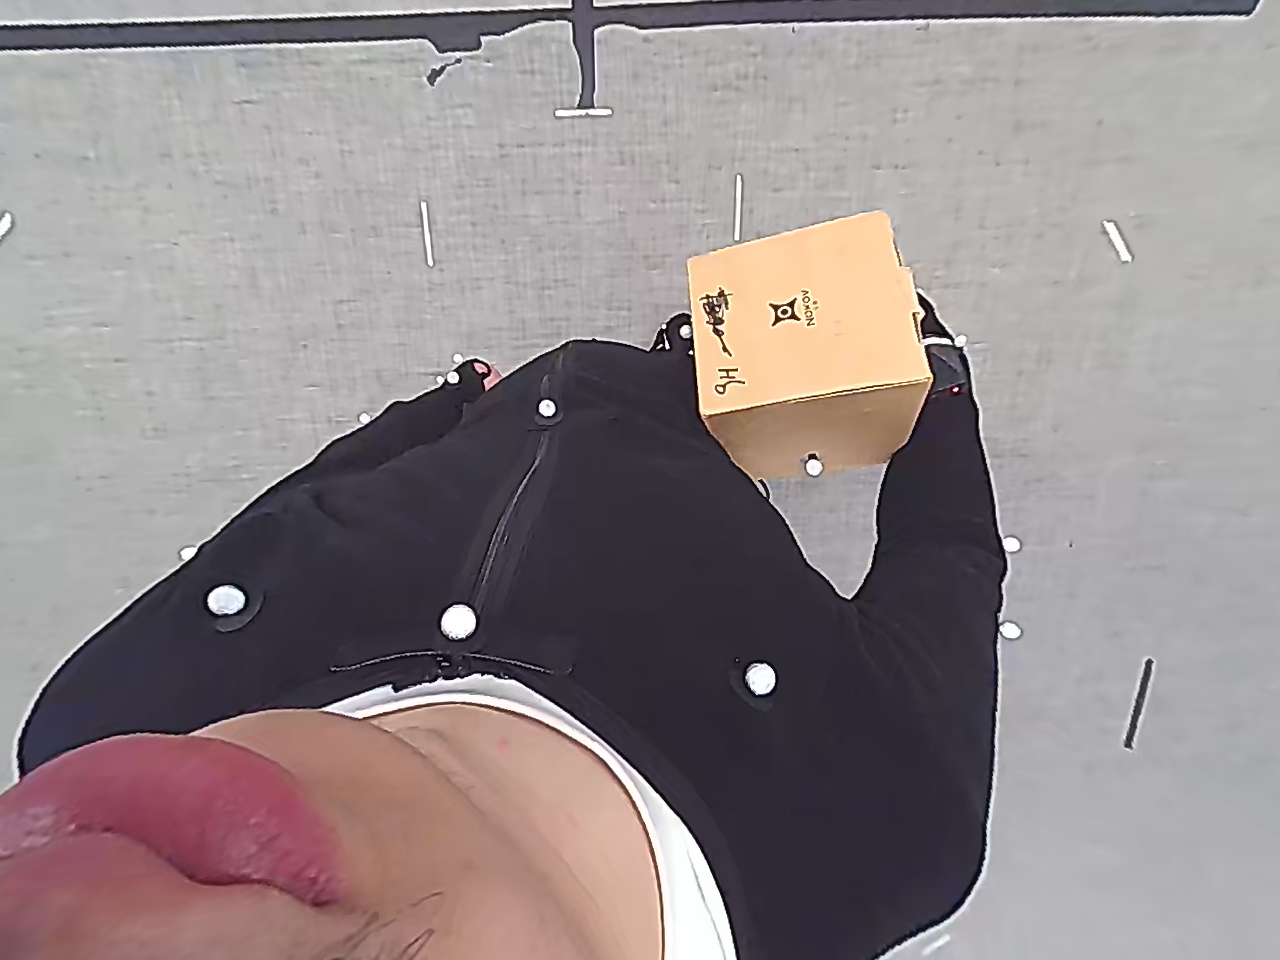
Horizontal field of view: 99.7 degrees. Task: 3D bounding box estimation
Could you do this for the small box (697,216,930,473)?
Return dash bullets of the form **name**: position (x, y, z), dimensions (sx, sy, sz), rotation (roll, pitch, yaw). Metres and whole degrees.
- **small box**: position (0.159, -0.117, 0.534), dimensions (0.179, 0.176, 0.168), rotation (-8, 68, 14)
